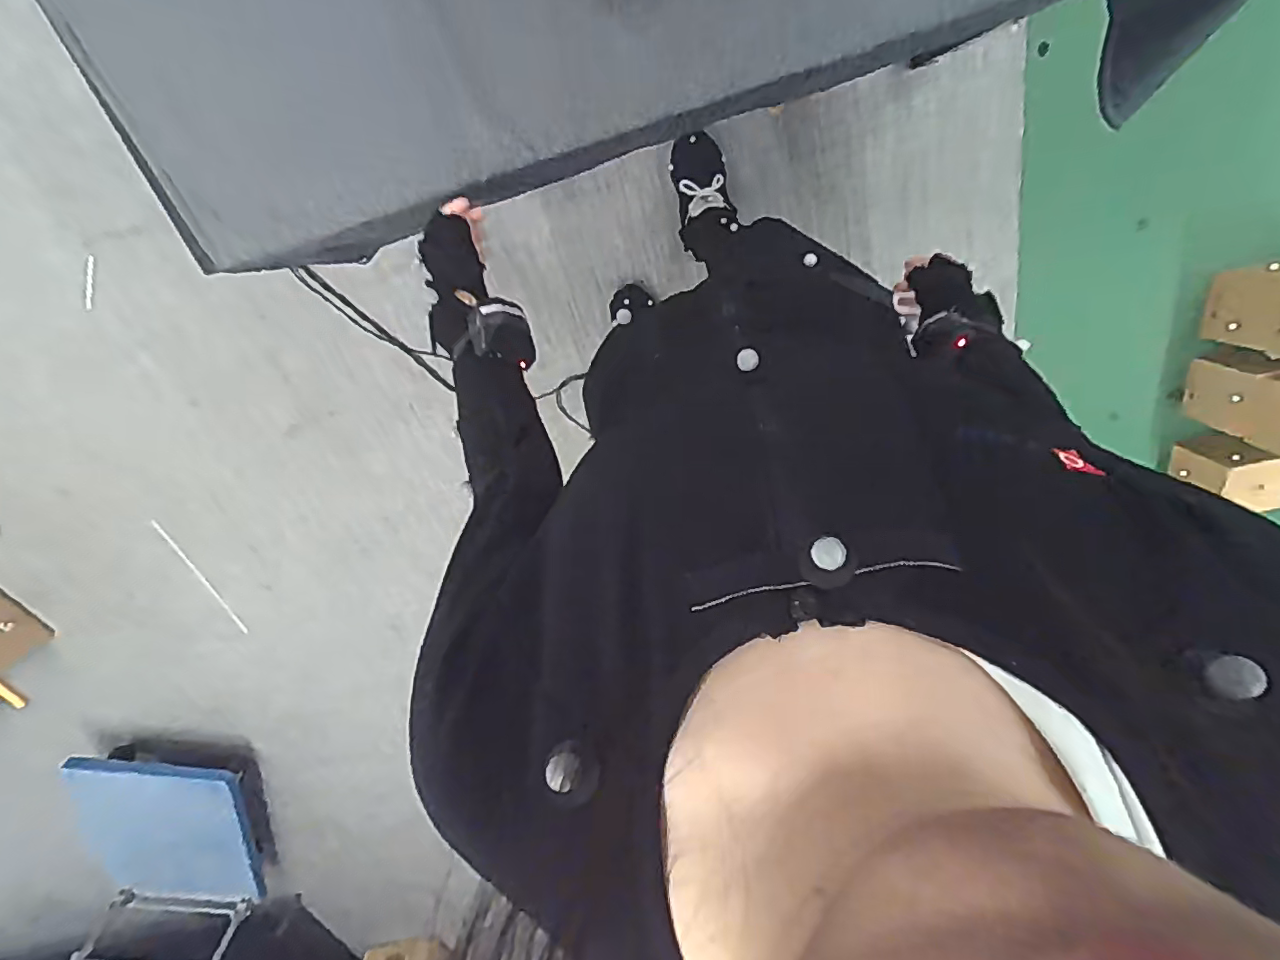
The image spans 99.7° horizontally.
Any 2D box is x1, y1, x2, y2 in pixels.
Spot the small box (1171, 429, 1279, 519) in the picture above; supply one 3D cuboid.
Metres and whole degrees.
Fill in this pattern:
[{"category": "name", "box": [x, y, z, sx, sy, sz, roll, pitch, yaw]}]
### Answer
[{"category": "small box", "box": [1.630, -0.022, 1.479, 0.179, 0.176, 0.168, -14, 117, 8]}]
